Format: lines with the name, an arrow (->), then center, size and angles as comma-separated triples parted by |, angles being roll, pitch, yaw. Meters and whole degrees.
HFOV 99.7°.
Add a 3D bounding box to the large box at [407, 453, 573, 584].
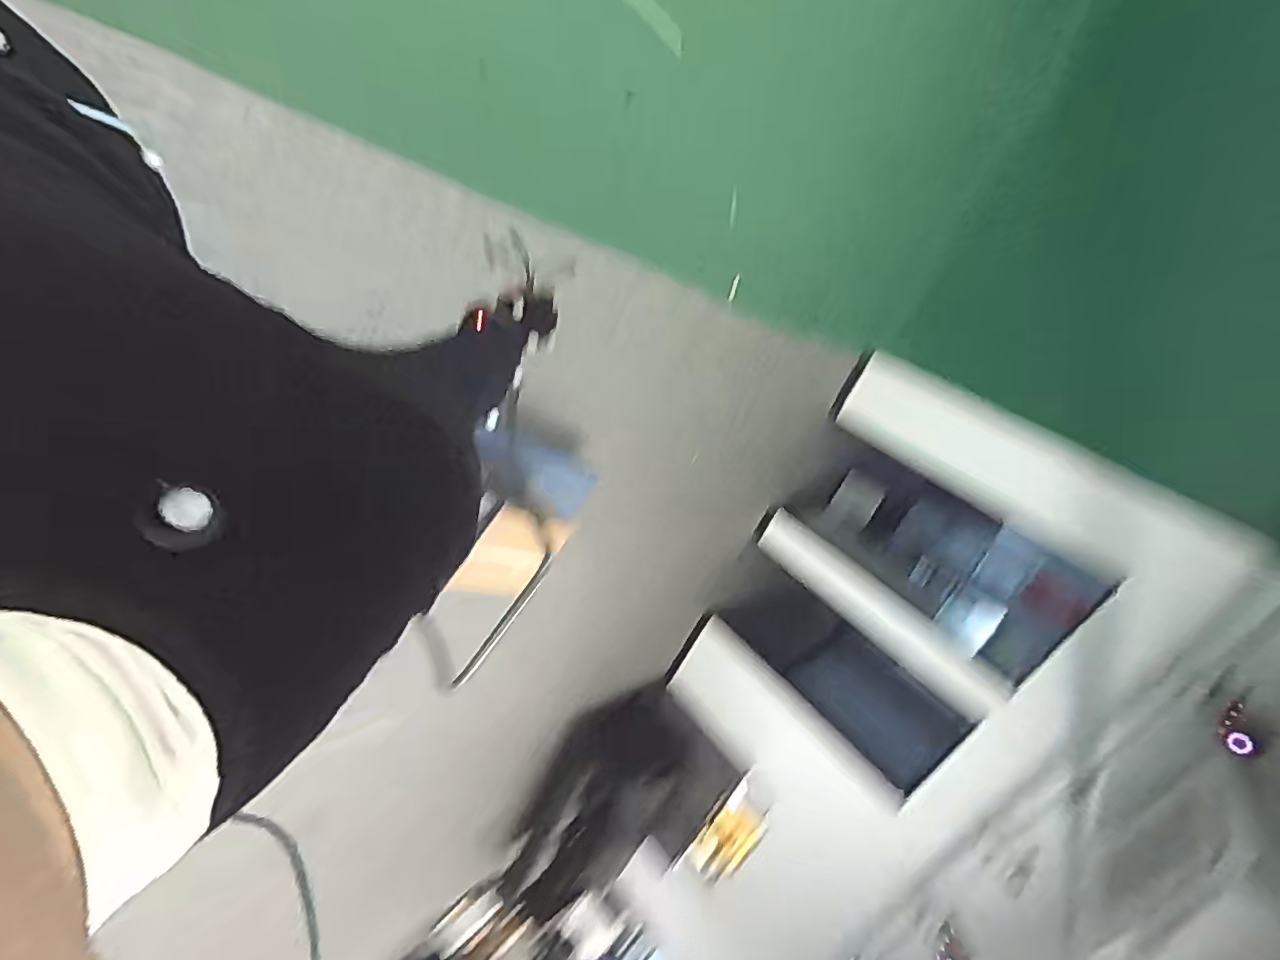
large box -> -0.529, 0.147, 1.920 | 0.320, 0.320, 0.408 | -53, 148, 9
